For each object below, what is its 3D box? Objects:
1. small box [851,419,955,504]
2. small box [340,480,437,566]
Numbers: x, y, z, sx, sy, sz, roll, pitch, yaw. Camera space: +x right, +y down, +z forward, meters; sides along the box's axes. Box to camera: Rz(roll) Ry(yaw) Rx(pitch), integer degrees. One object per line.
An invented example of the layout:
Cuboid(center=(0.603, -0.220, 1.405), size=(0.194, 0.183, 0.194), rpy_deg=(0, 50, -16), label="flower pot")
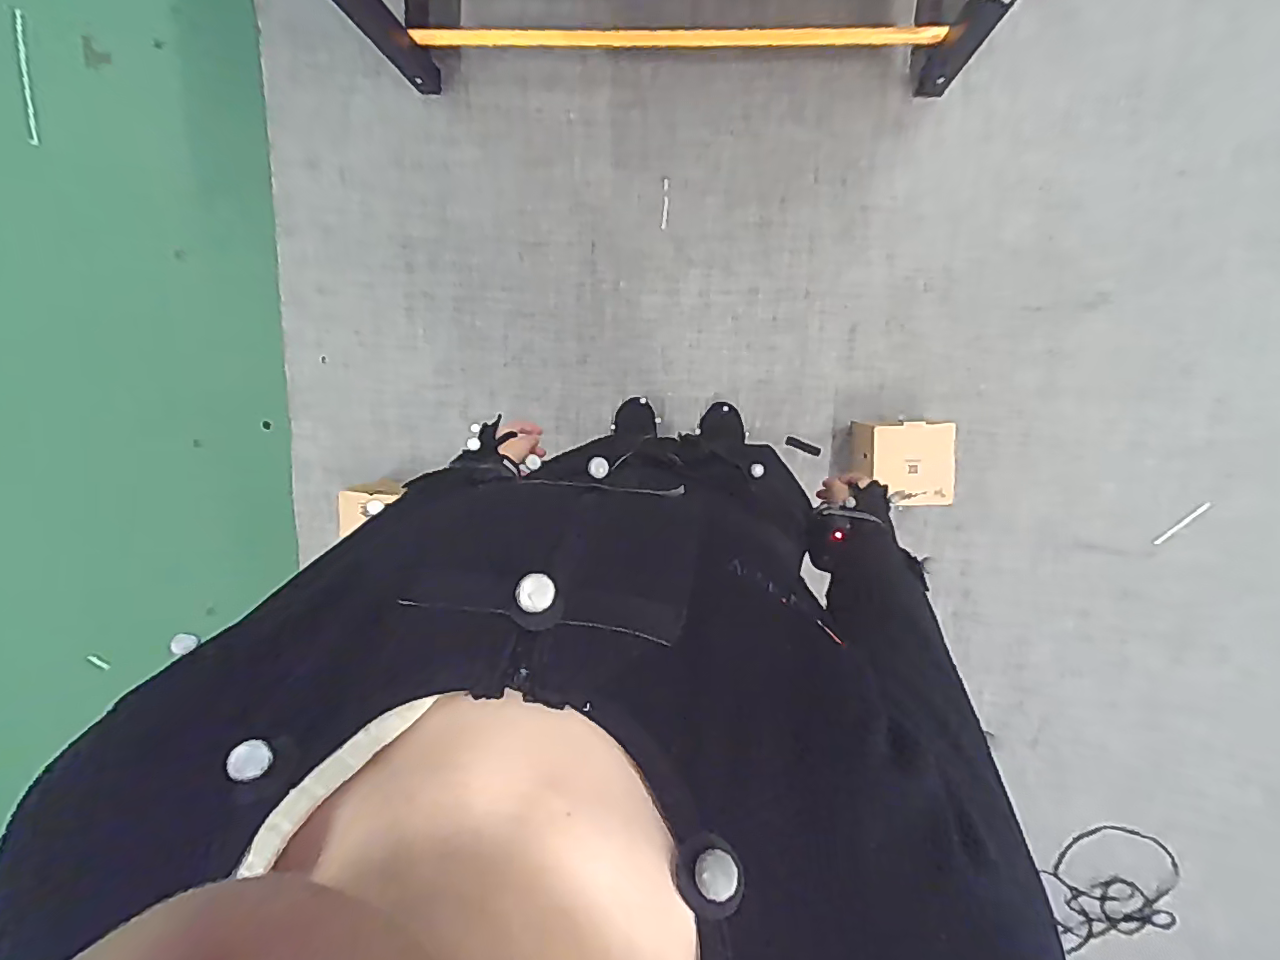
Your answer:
Cuboid(center=(0.581, -0.046, 1.213), size=(0.168, 0.176, 0.179), rpy_deg=(-2, 98, 7), label="small box")
Cuboid(center=(-0.632, 0.102, 1.374), size=(0.168, 0.176, 0.179), rpy_deg=(5, 101, 6), label="small box")
